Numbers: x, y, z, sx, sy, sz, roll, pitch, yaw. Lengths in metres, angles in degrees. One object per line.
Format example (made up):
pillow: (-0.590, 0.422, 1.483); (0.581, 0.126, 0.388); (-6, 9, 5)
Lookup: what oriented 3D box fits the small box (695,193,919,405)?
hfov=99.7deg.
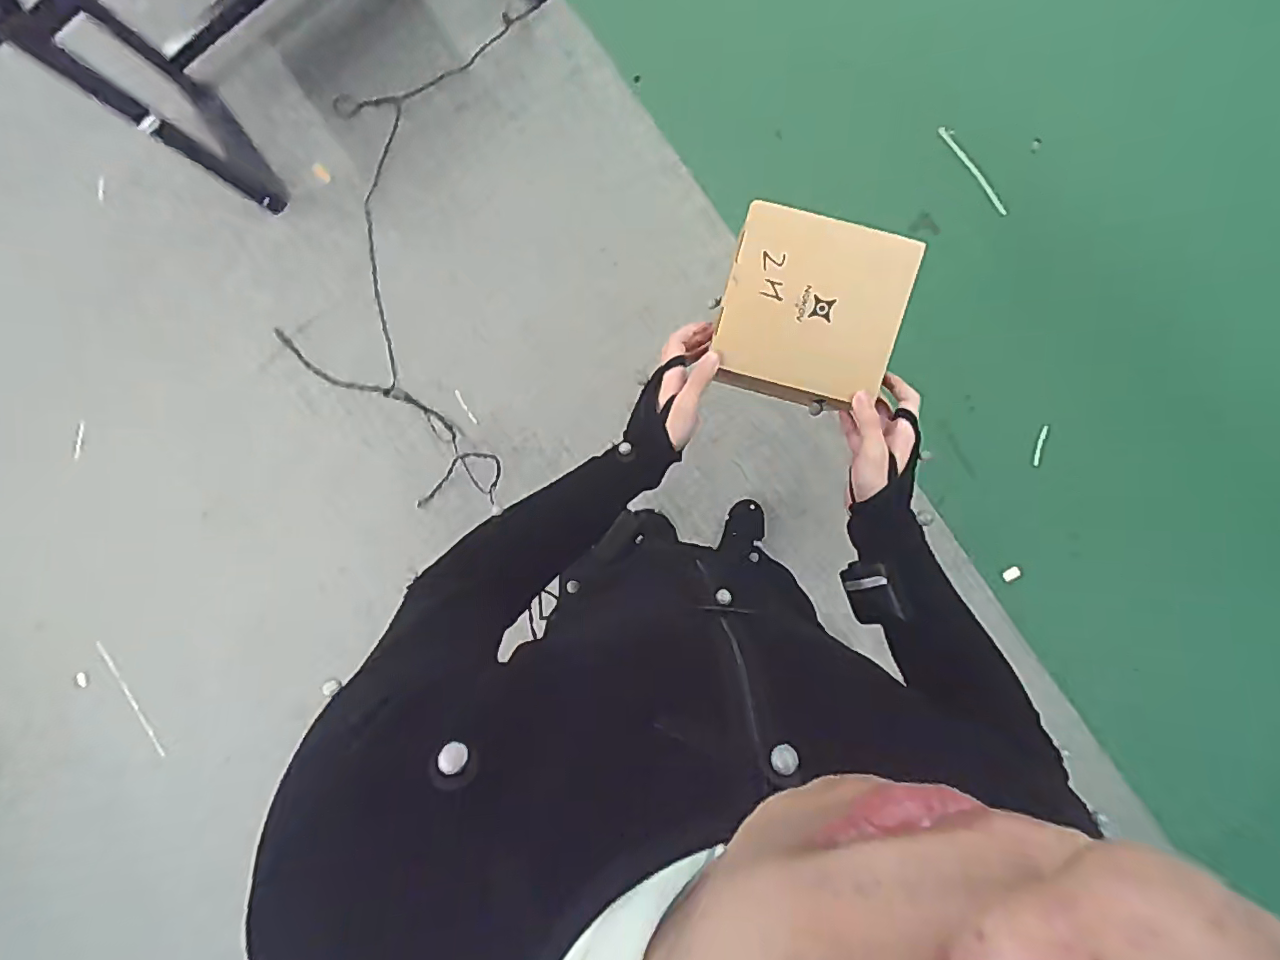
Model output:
small box: (0.167, -0.186, 0.605); (0.179, 0.176, 0.168); (15, 97, 2)
